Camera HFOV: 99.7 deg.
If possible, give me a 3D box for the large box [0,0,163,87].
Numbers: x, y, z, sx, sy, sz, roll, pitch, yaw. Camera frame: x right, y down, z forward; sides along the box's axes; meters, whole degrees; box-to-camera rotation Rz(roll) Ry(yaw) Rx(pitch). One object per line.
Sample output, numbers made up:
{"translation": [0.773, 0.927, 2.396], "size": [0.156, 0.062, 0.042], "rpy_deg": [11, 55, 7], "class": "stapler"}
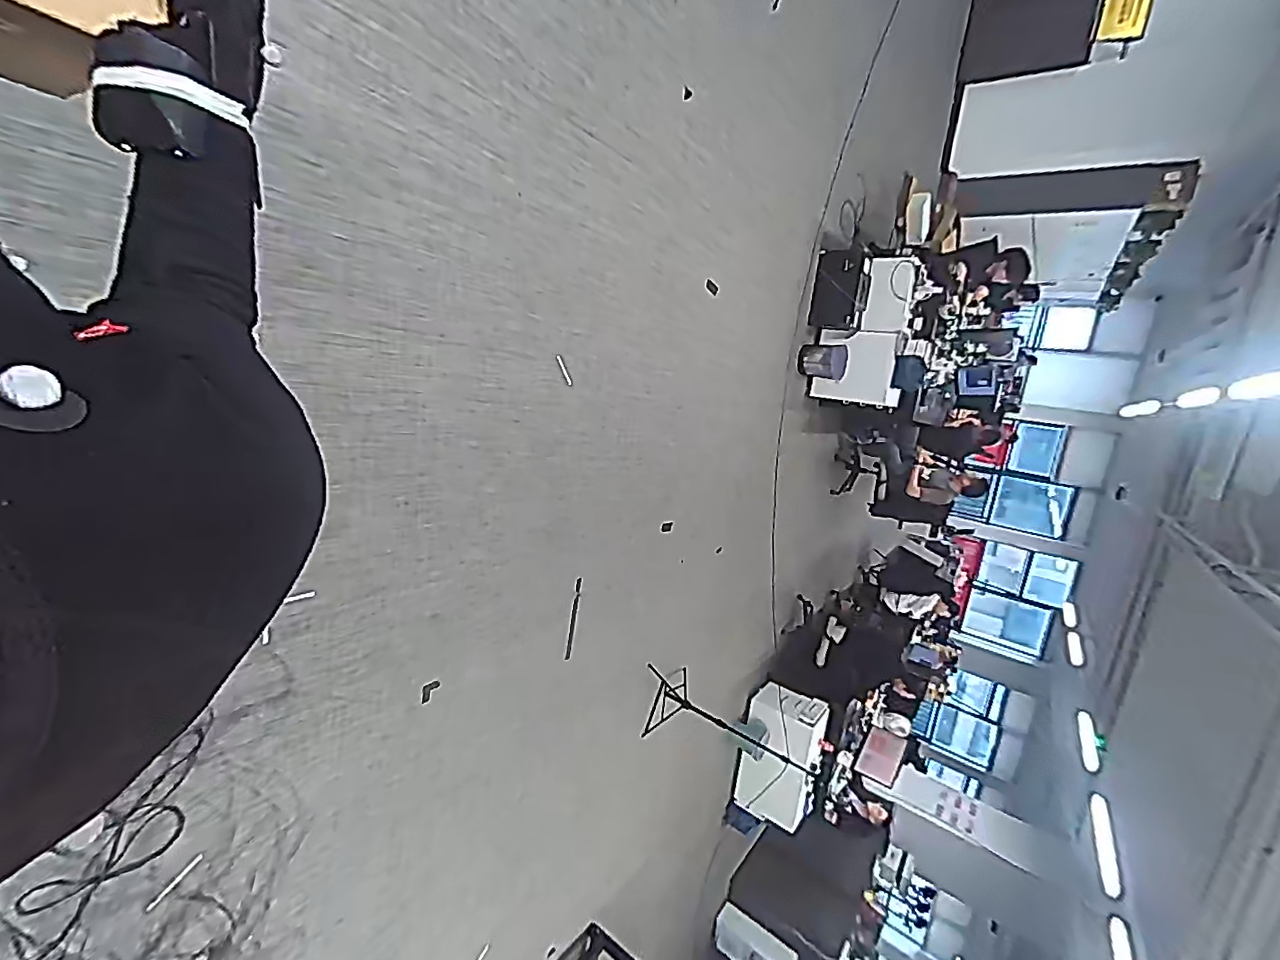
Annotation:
{"translation": [-0.535, -0.467, 0.258], "size": [0.408, 0.320, 0.320], "rpy_deg": [-6, 114, -55], "class": "large box"}
